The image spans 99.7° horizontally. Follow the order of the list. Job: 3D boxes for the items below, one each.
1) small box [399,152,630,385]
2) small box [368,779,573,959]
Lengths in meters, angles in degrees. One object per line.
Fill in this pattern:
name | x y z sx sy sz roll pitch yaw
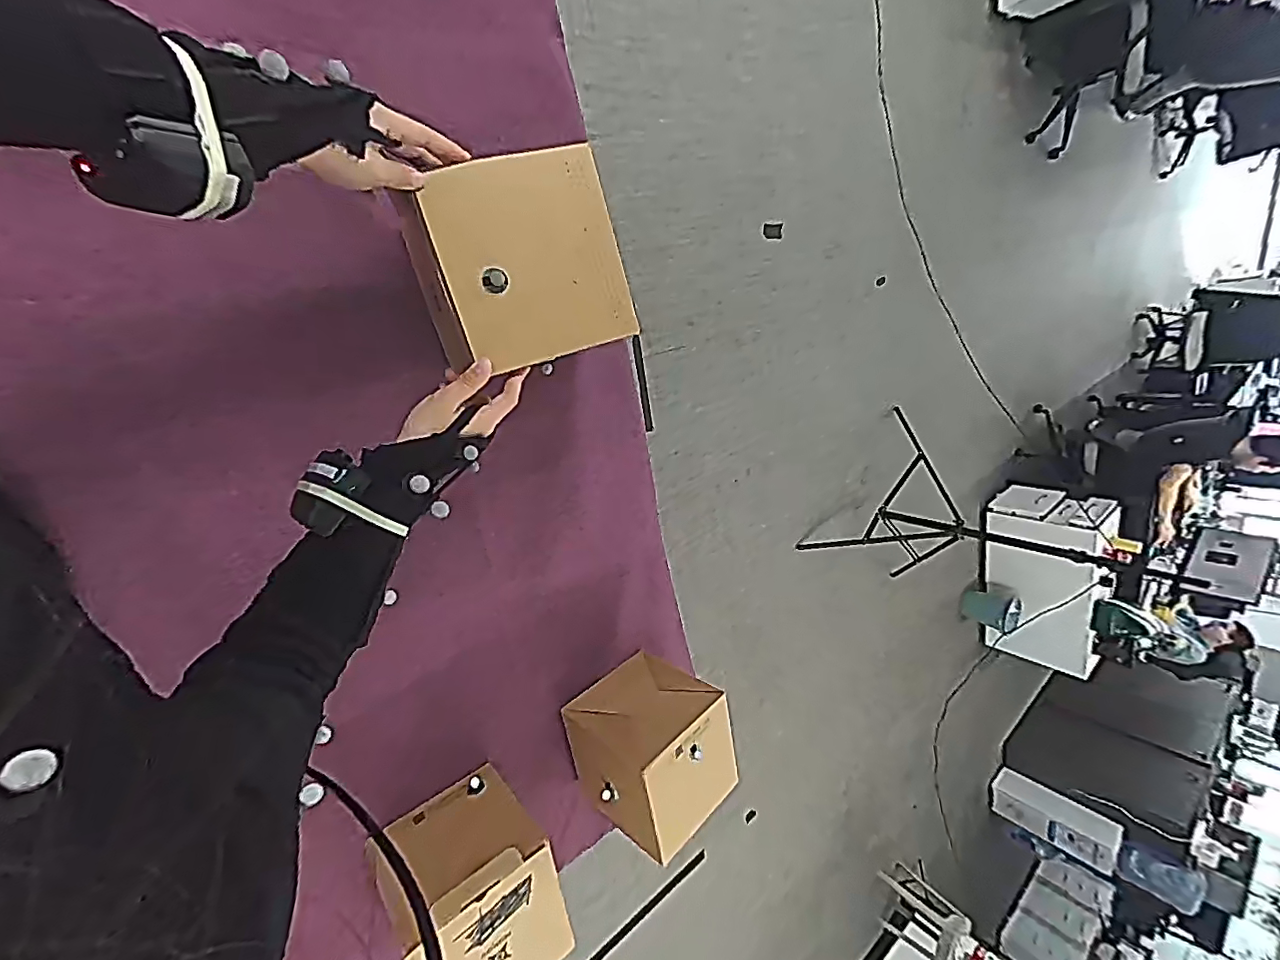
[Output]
small box | -0.128 -0.206 0.555 0.176 0.168 0.179 -22 107 -22
small box | -0.206 0.500 0.651 0.168 0.176 0.179 -21 111 -35
